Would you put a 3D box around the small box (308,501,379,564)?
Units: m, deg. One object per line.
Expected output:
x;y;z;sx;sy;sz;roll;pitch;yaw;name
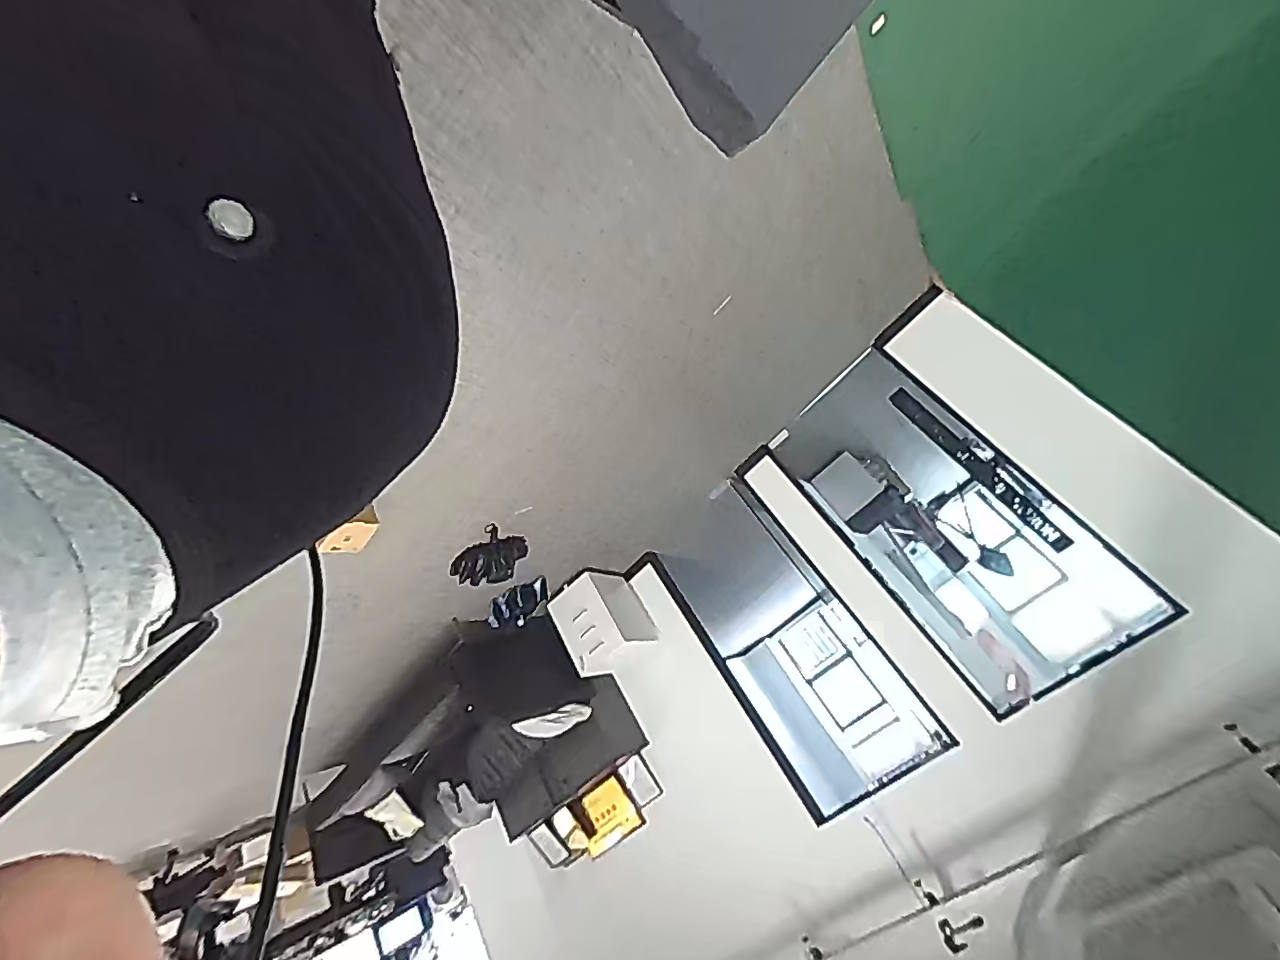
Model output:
-1.134;0.200;2.058;0.179;0.176;0.168;-48;150;20;small box
